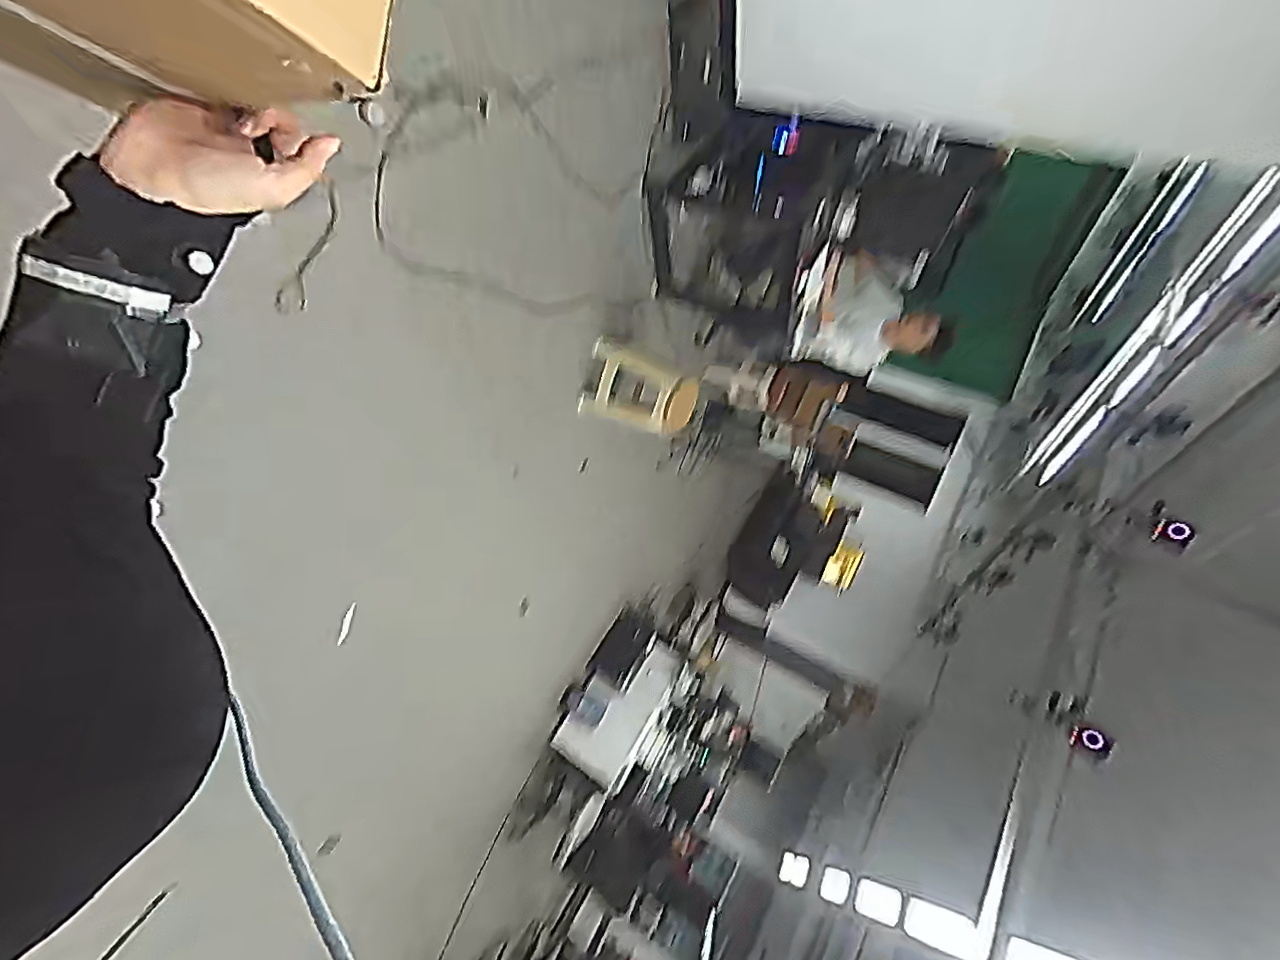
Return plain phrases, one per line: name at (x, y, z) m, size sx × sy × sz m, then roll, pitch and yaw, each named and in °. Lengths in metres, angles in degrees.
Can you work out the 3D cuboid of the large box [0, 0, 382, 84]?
large box at (-0.313, -0.384, 0.126) m, size 0.408 × 0.320 × 0.320 m, roll -5°, pitch 111°, yaw -61°
